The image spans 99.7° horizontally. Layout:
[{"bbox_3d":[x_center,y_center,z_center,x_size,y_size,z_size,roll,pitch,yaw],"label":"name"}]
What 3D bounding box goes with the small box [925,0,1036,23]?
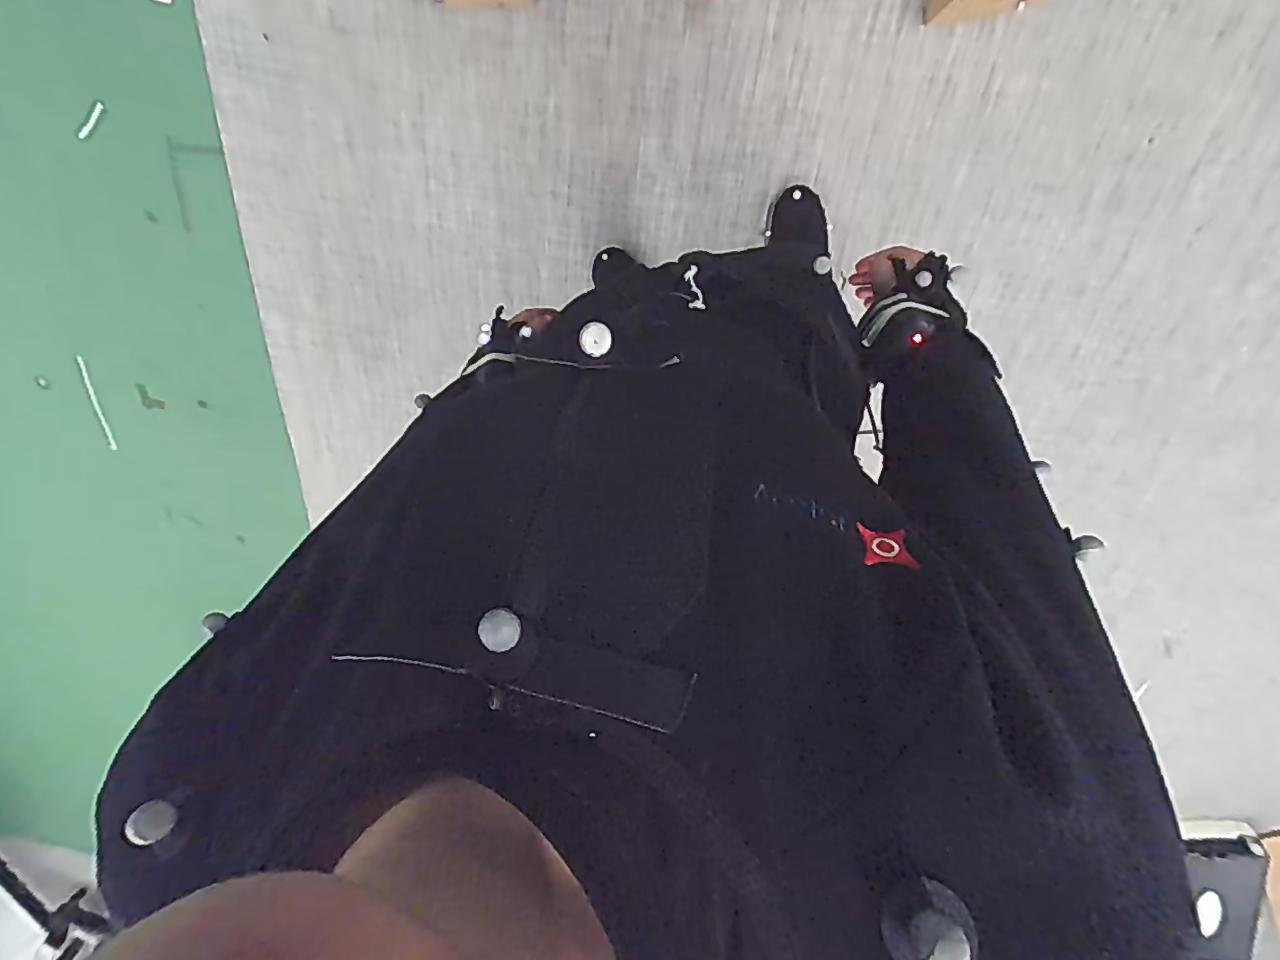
[{"bbox_3d":[0.550,-0.829,0.820,0.168,0.176,0.179,-2,116,10],"label":"small box"}]
